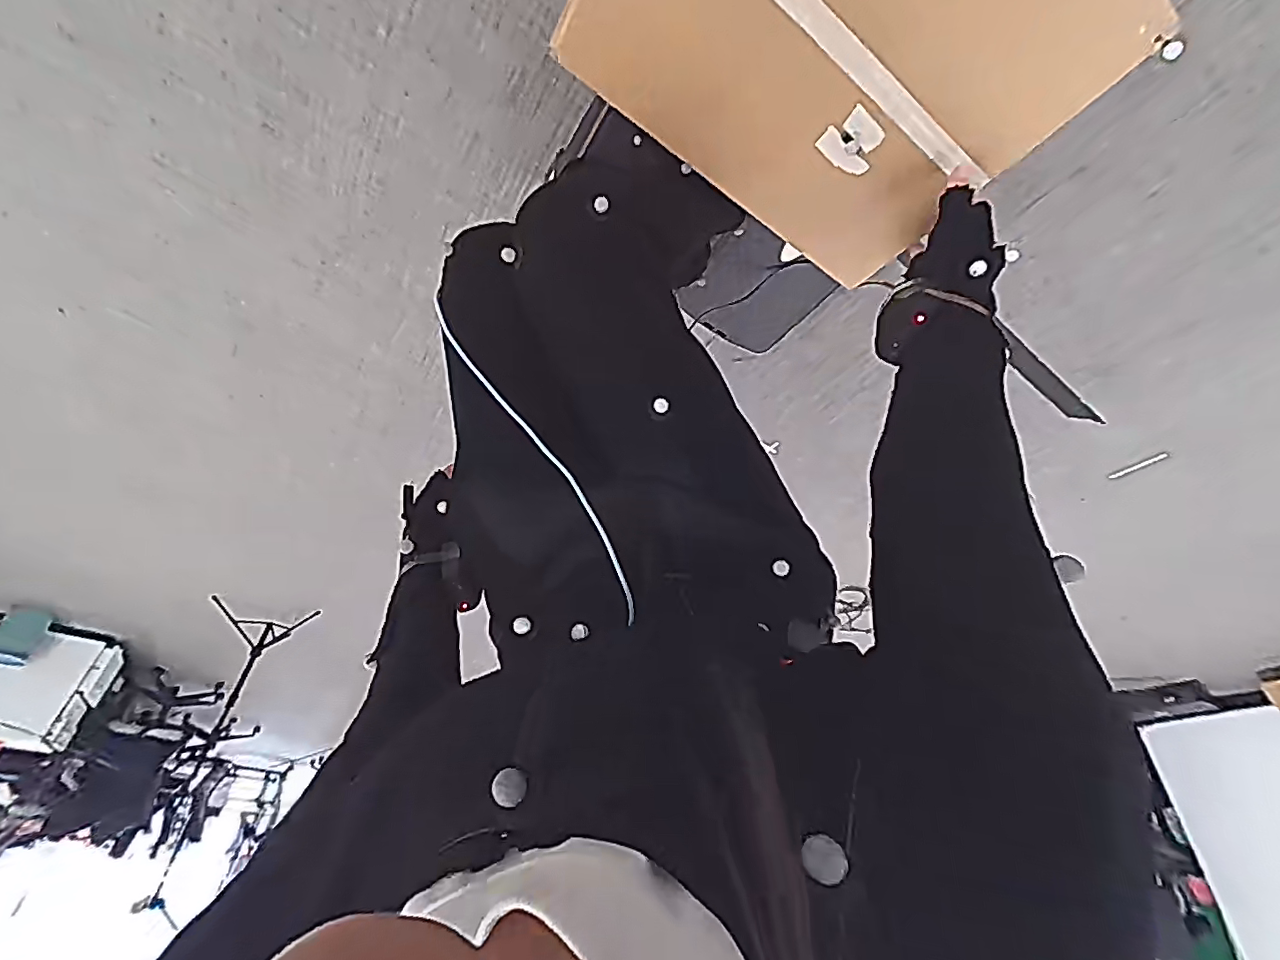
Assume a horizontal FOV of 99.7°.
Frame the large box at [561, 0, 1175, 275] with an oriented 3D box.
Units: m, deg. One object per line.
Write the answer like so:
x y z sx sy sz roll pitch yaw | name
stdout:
0.185 -0.499 0.531 0.408 0.320 0.320 23 145 -25 | large box
